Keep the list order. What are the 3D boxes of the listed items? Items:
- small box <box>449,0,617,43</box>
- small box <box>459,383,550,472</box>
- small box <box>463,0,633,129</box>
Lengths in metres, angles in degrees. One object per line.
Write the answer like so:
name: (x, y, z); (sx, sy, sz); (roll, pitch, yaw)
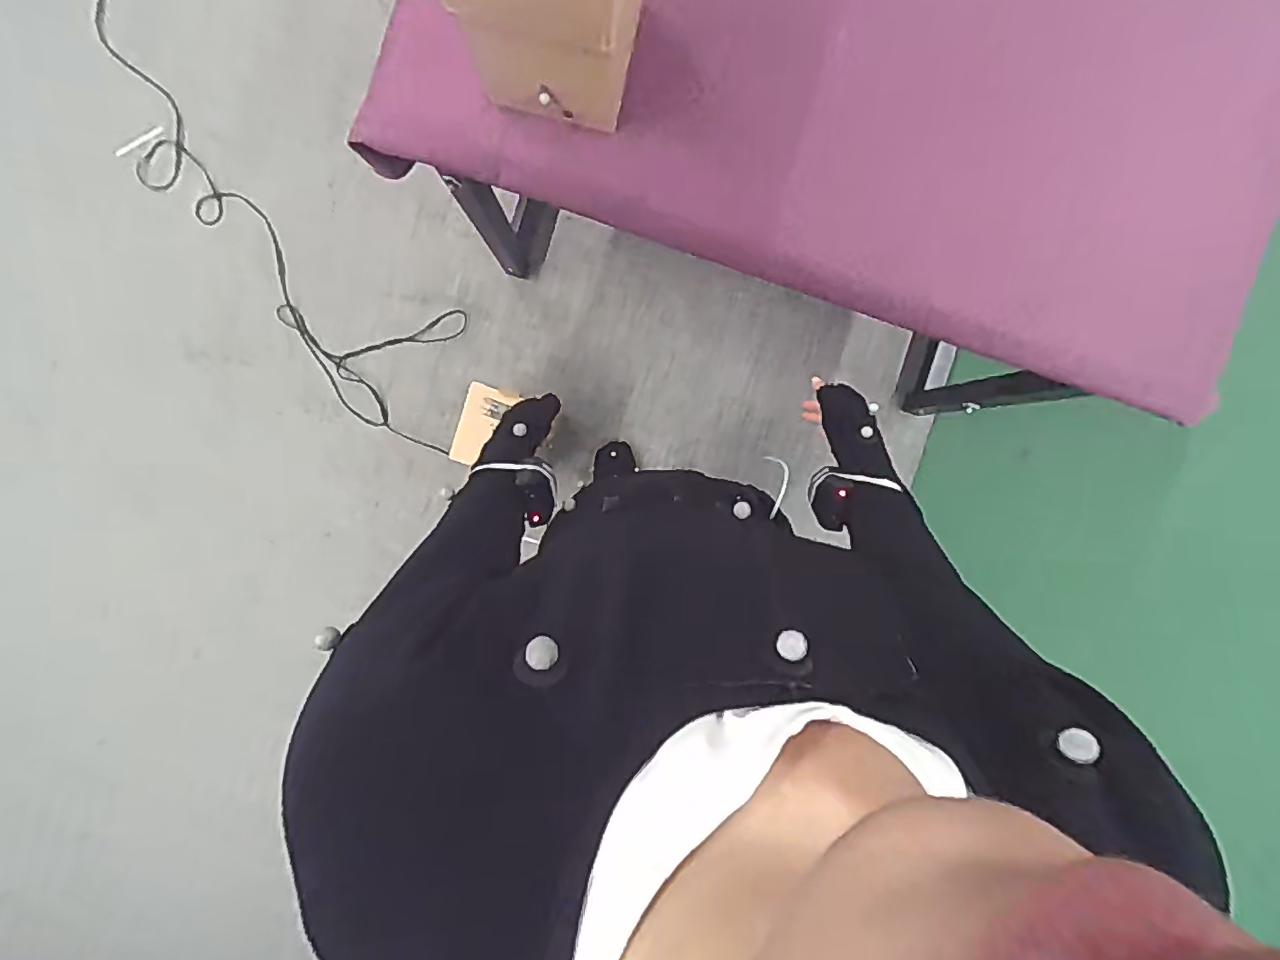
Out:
small box: (-0.092, -0.533, 0.468); (0.179, 0.176, 0.168); (13, 93, -3)
small box: (-0.334, -0.132, 1.376); (0.168, 0.176, 0.179); (19, 94, -3)
small box: (-0.100, -0.560, 0.629); (0.168, 0.176, 0.179); (13, 92, -4)
